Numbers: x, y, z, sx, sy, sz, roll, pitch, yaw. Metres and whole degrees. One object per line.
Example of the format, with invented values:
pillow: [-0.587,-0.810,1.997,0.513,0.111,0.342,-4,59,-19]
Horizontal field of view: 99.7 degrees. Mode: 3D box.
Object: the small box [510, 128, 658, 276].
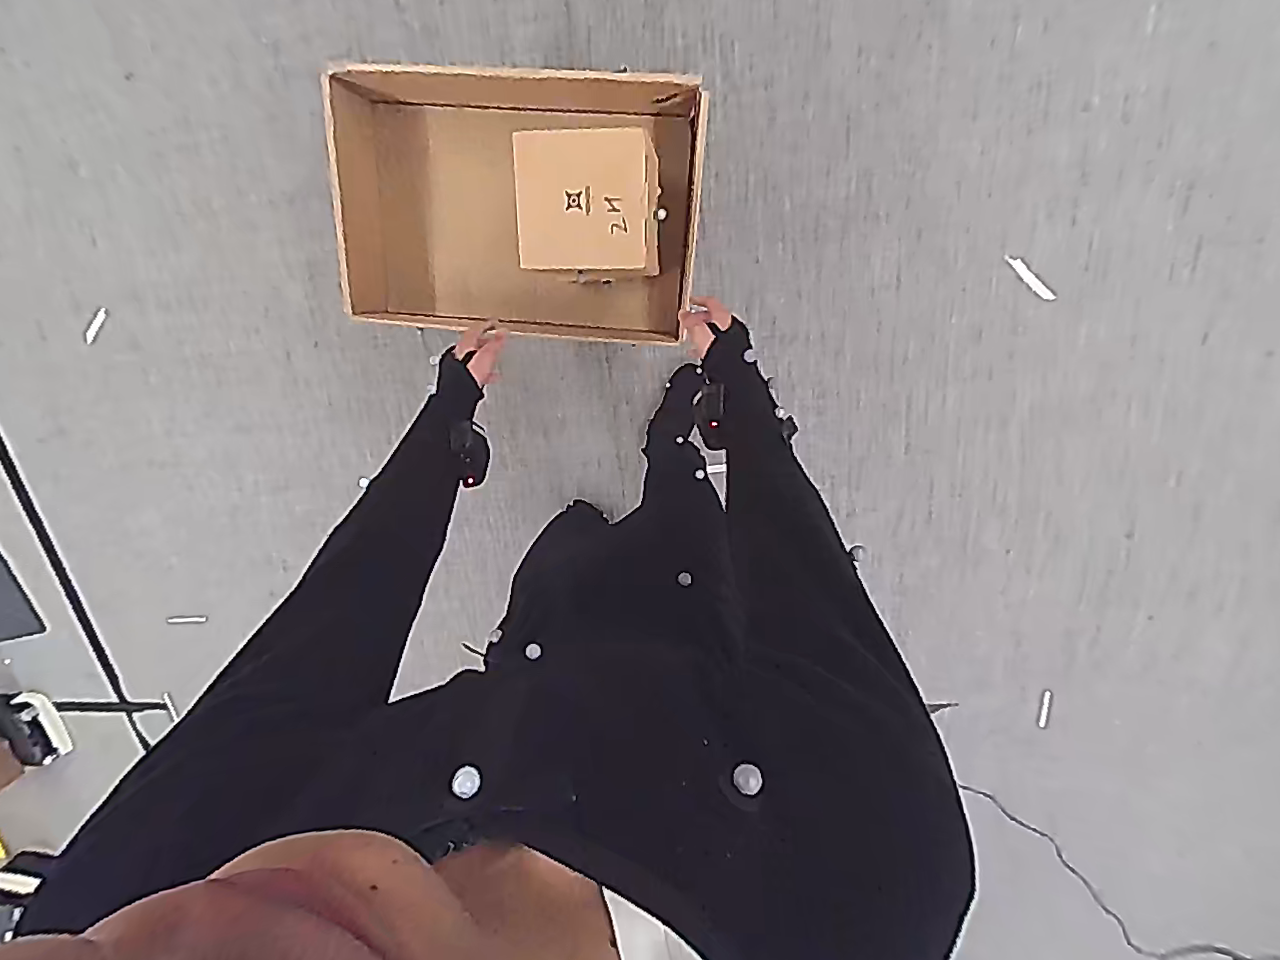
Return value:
small box: [-0.070,-0.382,0.770,0.179,0.176,0.168,2,109,6]
